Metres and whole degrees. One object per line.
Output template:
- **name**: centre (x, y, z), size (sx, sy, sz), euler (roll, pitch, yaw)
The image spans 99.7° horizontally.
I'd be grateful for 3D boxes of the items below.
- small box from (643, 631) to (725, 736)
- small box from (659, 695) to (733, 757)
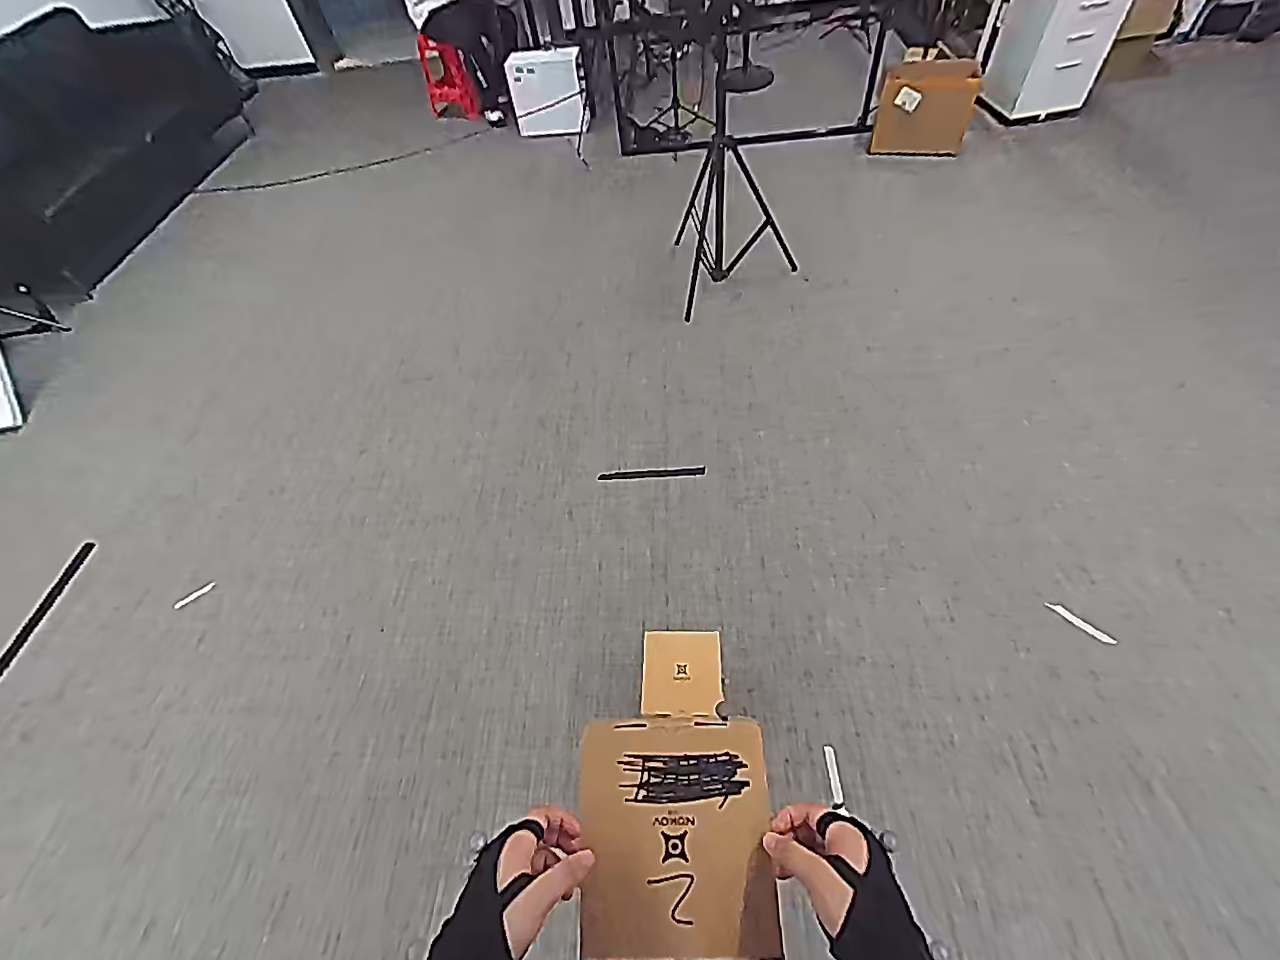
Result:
- **small box**: centre (0.097, 0.445, 1.181), size (0.168, 0.176, 0.179), euler (-2, 54, 6)
- **small box**: centre (0.119, 0.547, 1.307), size (0.168, 0.176, 0.179), euler (-12, 53, -1)
